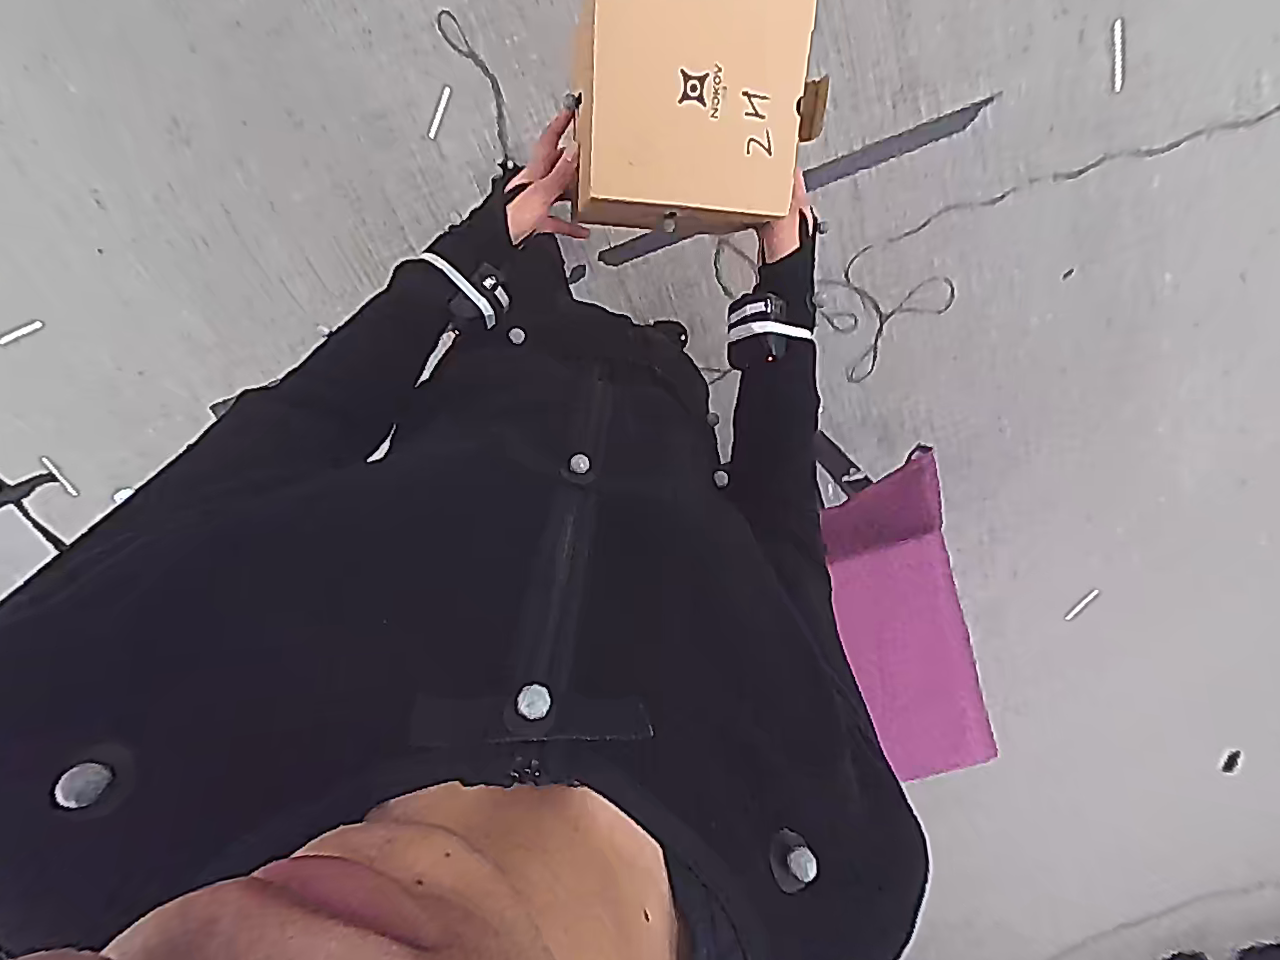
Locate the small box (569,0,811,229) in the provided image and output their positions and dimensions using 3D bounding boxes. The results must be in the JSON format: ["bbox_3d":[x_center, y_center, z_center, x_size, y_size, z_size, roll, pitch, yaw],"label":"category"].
[{"bbox_3d":[0.028,-0.333,0.496,0.179,0.176,0.168,-1,109,-12],"label":"small box"}]
